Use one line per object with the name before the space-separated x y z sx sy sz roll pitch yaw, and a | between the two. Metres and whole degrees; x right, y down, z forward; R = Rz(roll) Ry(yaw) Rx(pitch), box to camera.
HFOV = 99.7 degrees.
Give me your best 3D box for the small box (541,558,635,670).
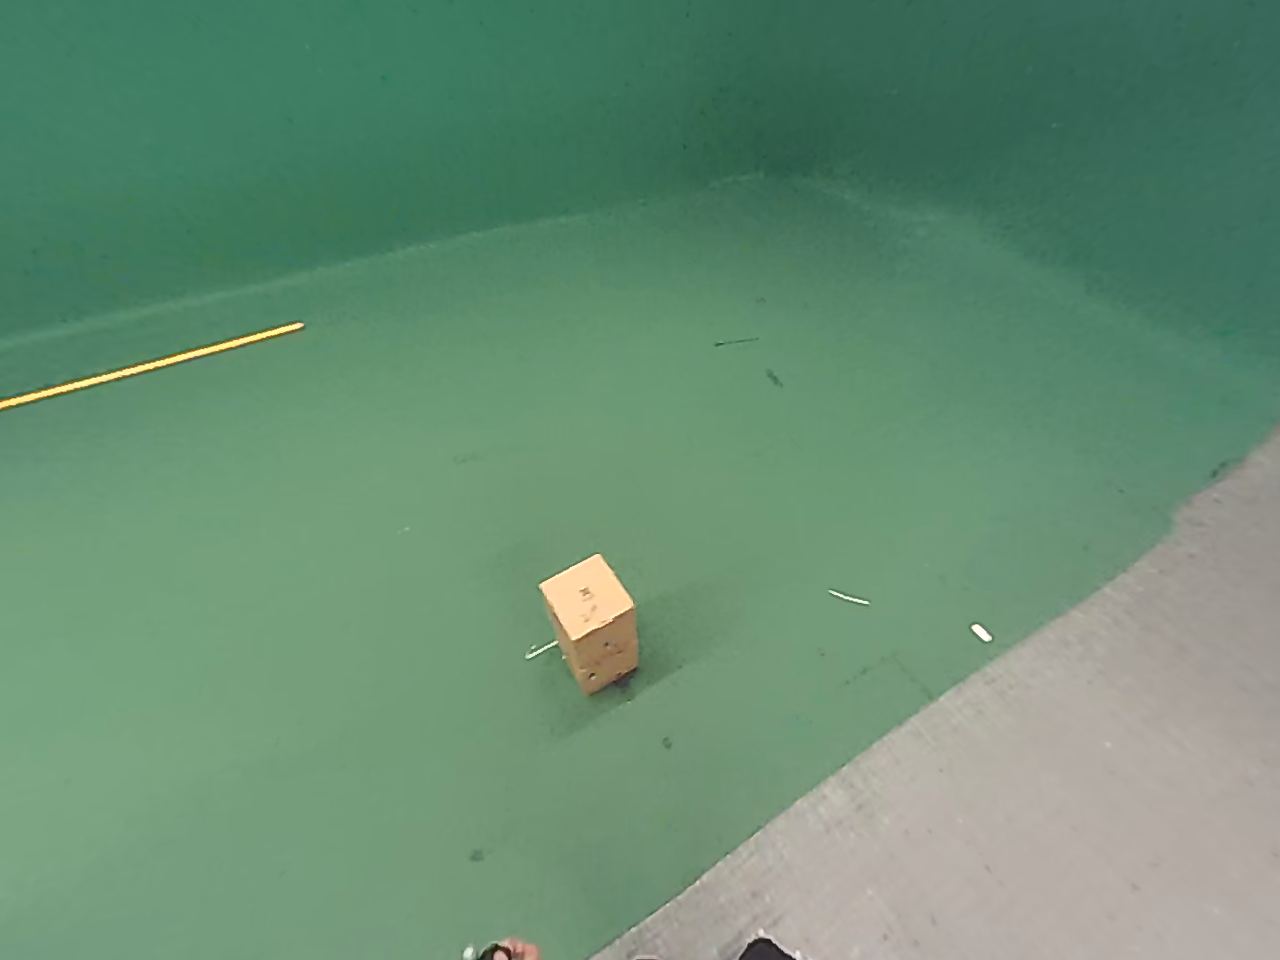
small box | -0.126 0.334 1.337 0.168 0.176 0.179 -26 54 -20
